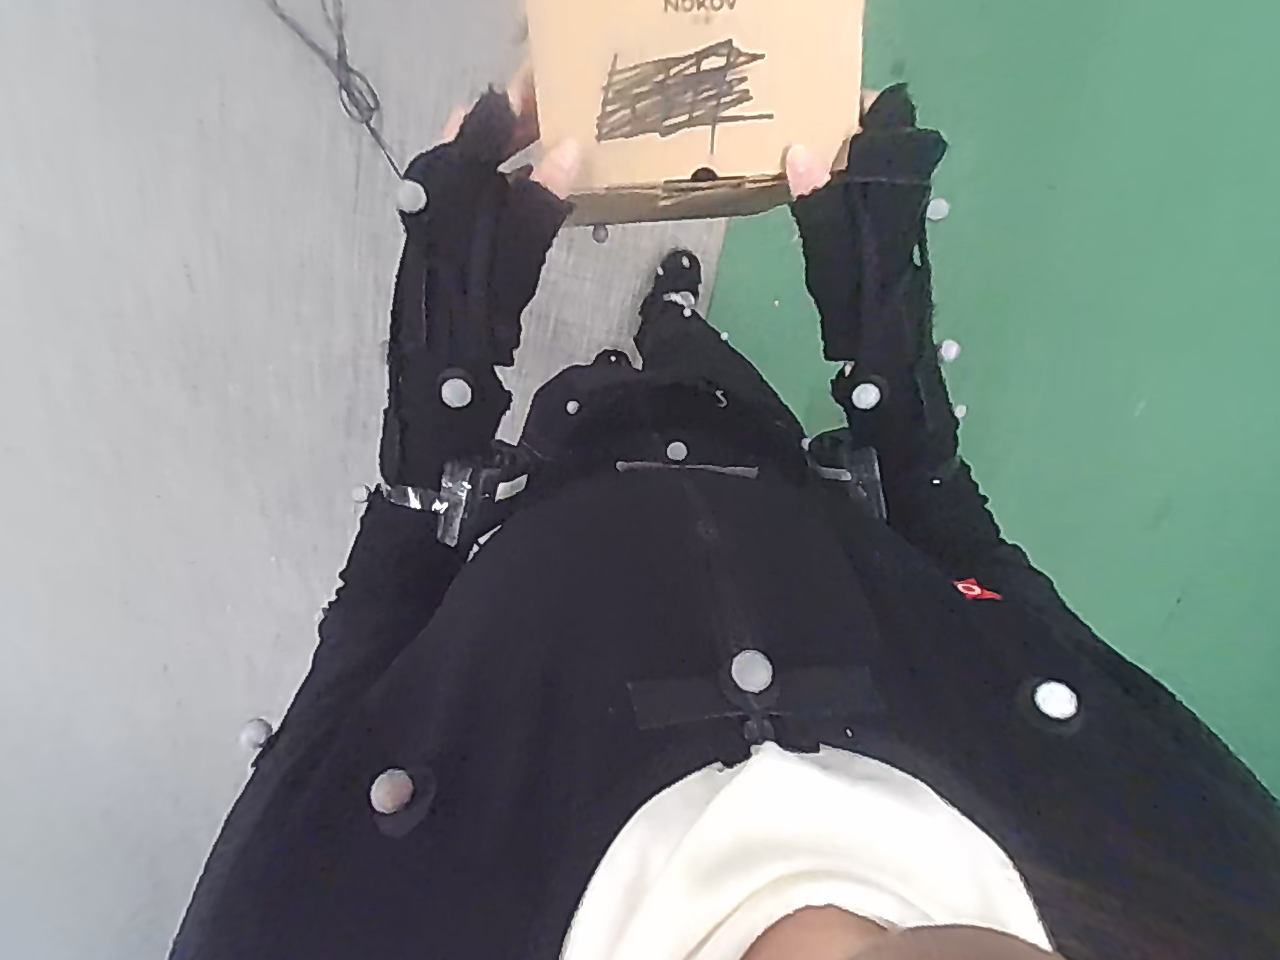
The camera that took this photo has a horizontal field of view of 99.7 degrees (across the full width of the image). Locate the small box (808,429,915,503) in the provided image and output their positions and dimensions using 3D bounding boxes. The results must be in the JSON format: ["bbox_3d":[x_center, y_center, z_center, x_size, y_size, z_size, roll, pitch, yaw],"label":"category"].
[{"bbox_3d":[0.572,-0.025,1.419,0.179,0.176,0.168,13,106,-7],"label":"small box"}]

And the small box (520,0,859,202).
[{"bbox_3d":[0.017,-0.273,0.325,0.168,0.176,0.179,-6,110,-4],"label":"small box"}]

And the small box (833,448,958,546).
[{"bbox_3d":[0.589,0.034,1.268,0.179,0.176,0.168,12,106,-10],"label":"small box"}]
